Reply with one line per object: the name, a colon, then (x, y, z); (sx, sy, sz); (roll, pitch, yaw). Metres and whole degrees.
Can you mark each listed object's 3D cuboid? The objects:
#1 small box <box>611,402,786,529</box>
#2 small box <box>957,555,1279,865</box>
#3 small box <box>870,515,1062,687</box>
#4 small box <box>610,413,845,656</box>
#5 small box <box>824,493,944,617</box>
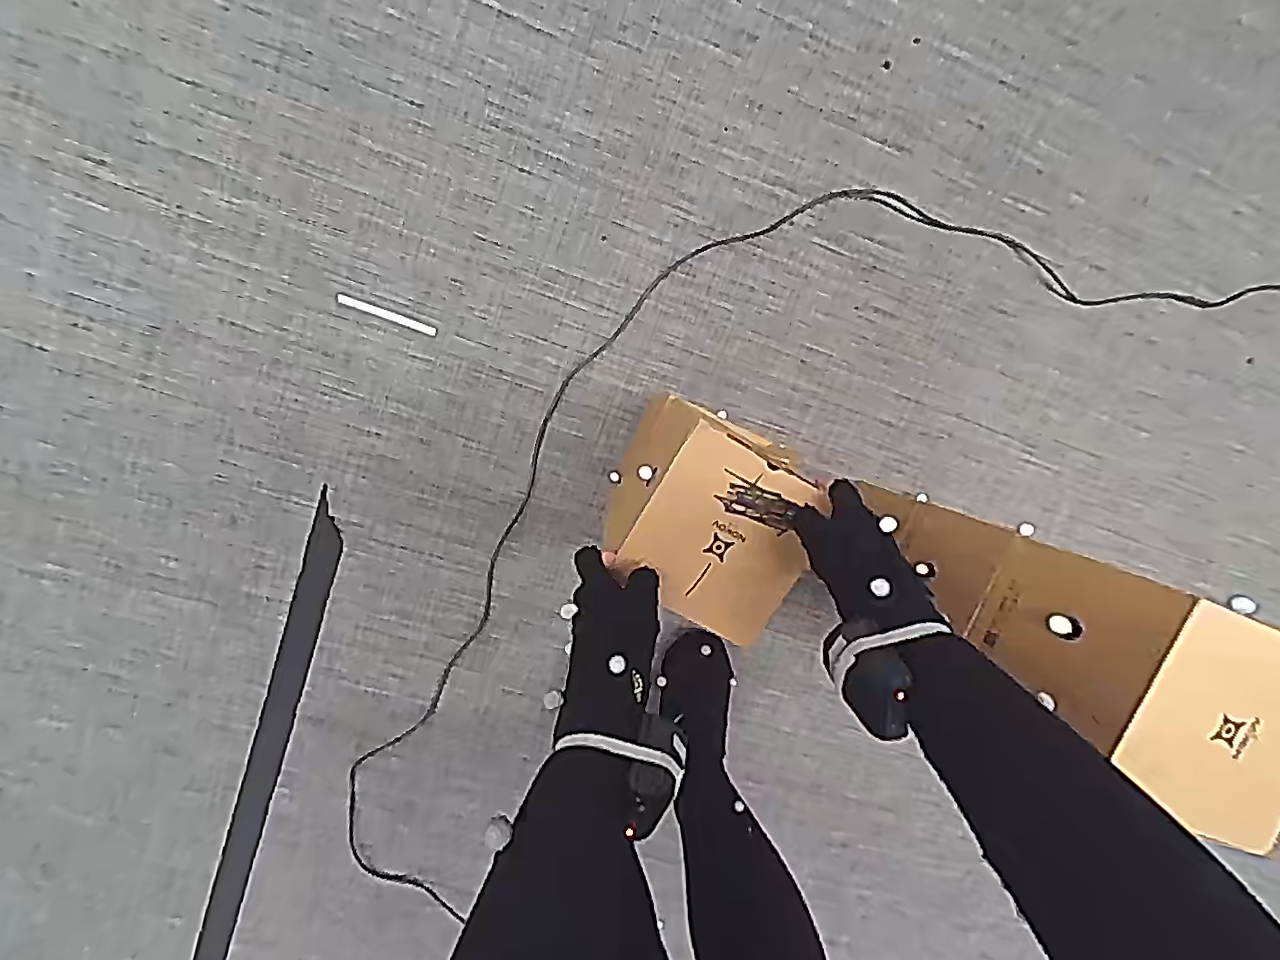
small box: (0.068, 0.004, 0.747); (0.168, 0.176, 0.179); (24, 96, -9)
small box: (0.429, 0.180, 0.475); (0.179, 0.176, 0.168); (21, 96, -9)
small box: (0.411, 0.153, 0.635); (0.179, 0.176, 0.168); (23, 97, -10)
small box: (0.076, 0.045, 0.582); (0.168, 0.176, 0.179); (28, 101, -10)
small box: (0.405, 0.128, 0.798); (0.179, 0.176, 0.168); (21, 97, -8)
